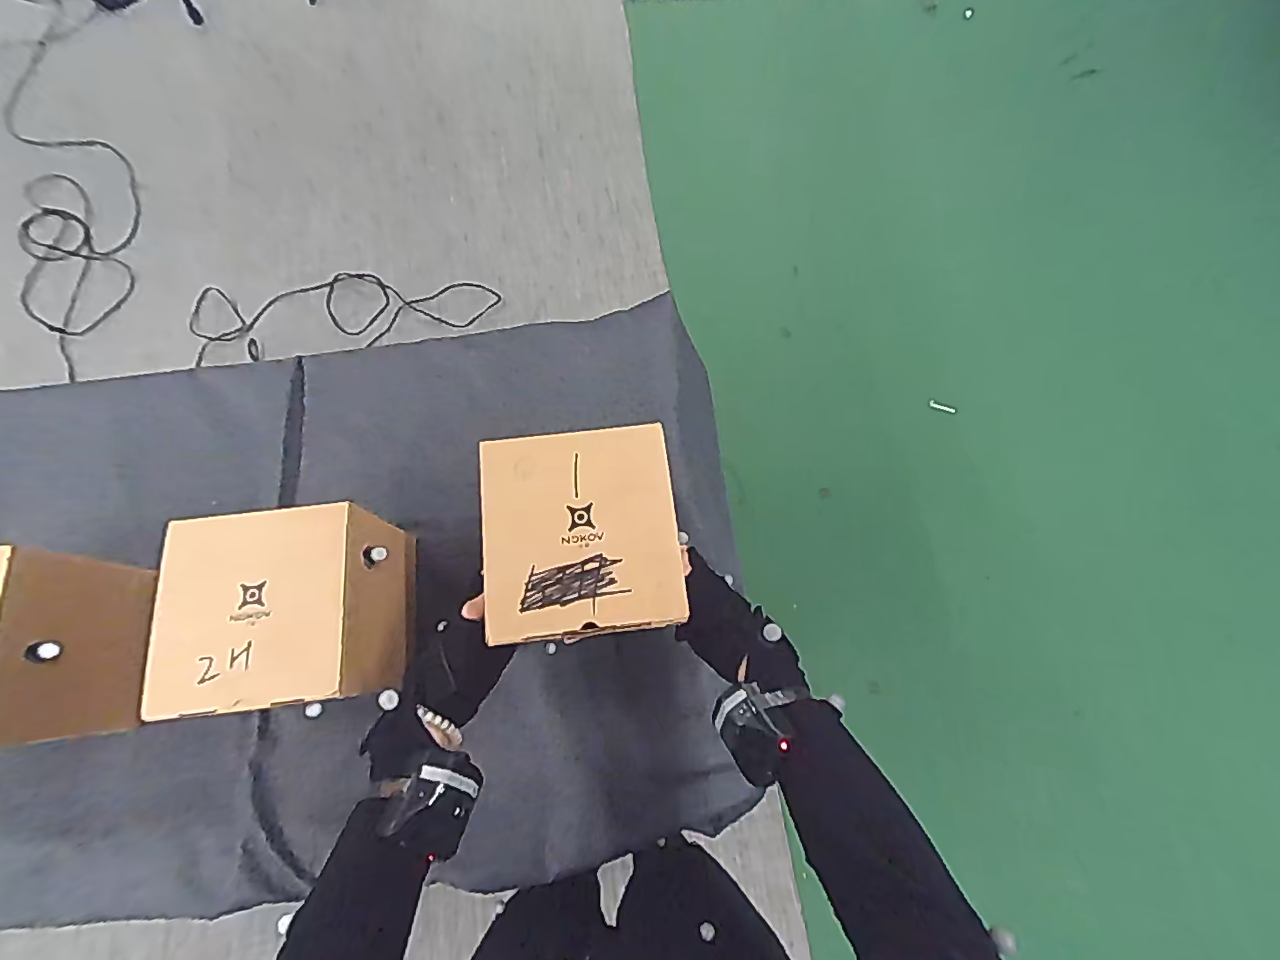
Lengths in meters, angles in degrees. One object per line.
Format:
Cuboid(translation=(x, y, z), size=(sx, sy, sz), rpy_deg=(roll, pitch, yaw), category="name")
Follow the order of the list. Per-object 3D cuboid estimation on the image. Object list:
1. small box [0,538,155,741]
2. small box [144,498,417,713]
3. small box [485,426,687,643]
Cuboid(translation=(-0.637, 0.165, 0.535), size=(0.168, 0.176, 0.179), rpy_deg=(-6, 74, -4), category="small box")
Cuboid(translation=(-0.341, 0.130, 0.554), size=(0.168, 0.176, 0.179), rpy_deg=(-6, 73, -3), category="small box")
Cuboid(translation=(-0.050, 0.062, 0.536), size=(0.168, 0.176, 0.179), rpy_deg=(-5, 74, -4), category="small box")
